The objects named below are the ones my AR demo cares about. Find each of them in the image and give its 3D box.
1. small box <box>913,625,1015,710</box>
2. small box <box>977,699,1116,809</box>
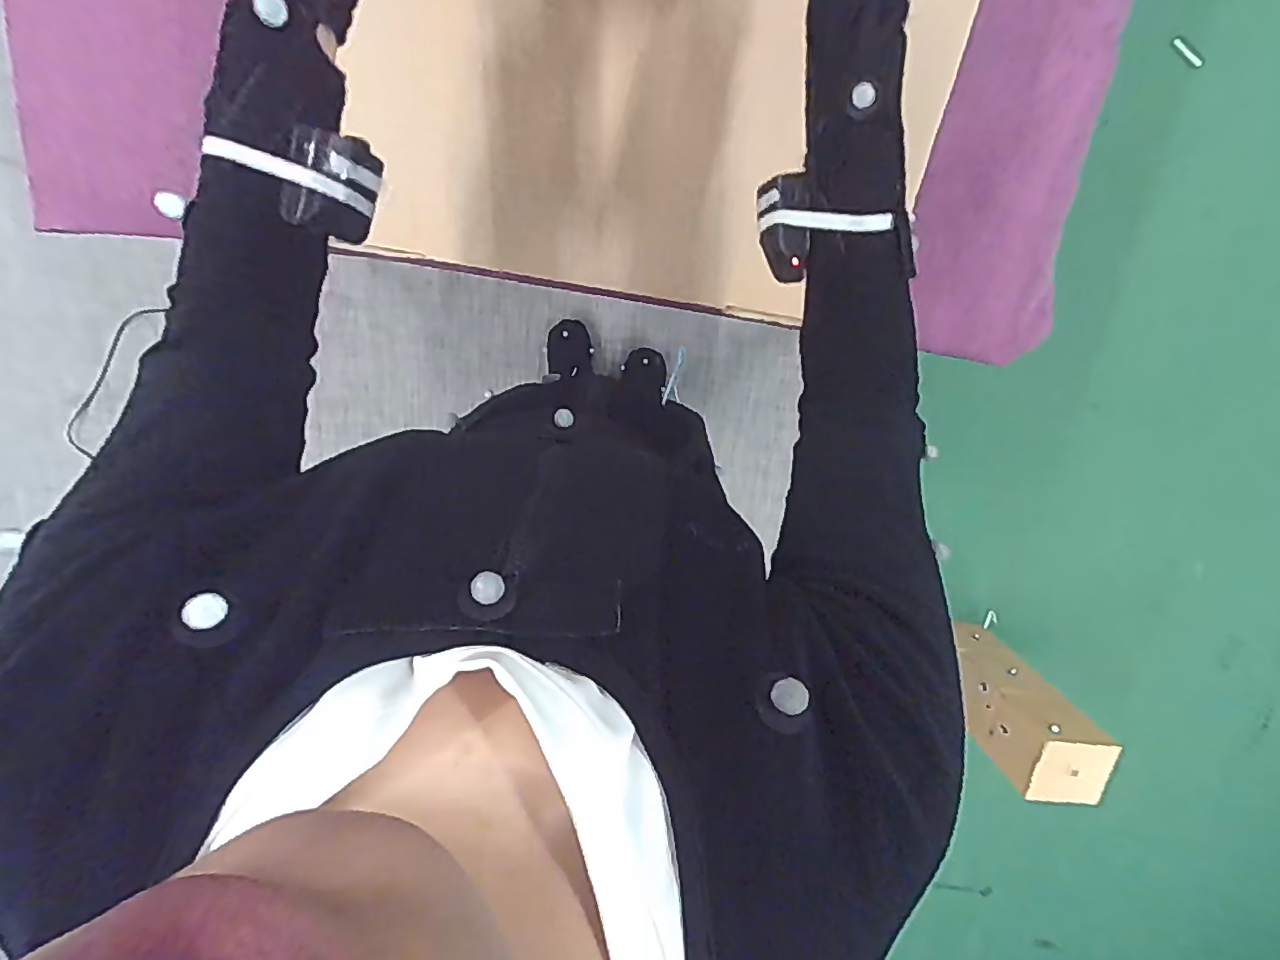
[{"bbox_3d":[0.945,0.548,1.597,0.179,0.176,0.168,8,106,-4],"label":"small box"},{"bbox_3d":[0.954,0.644,1.284,0.179,0.176,0.168,6,106,-3],"label":"small box"}]
